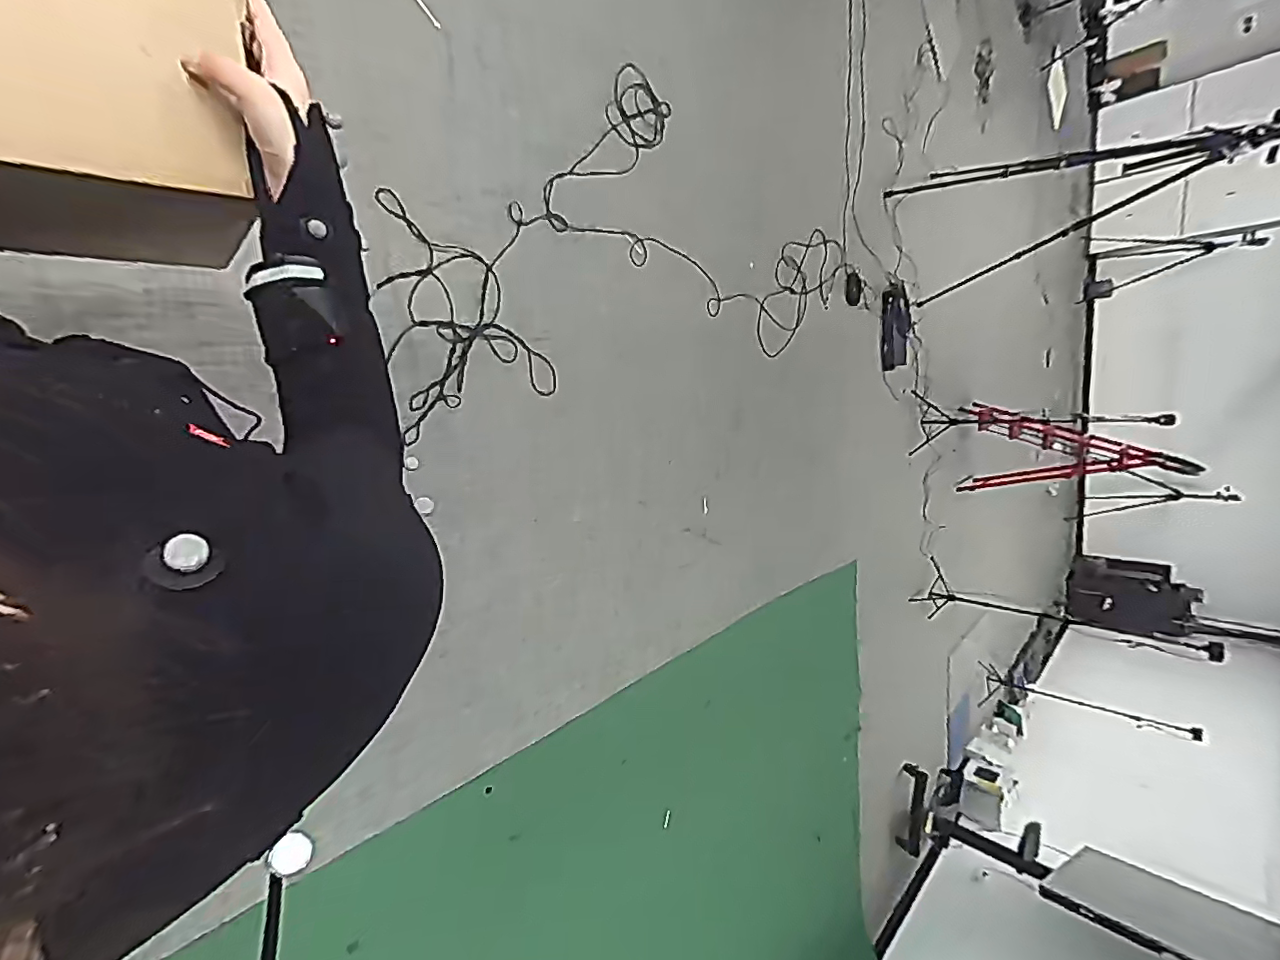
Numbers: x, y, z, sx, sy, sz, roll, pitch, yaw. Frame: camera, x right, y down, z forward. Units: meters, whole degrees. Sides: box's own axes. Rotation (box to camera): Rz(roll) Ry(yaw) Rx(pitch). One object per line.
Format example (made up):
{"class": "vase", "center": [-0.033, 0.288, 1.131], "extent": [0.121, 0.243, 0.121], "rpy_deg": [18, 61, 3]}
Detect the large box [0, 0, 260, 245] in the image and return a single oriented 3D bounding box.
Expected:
{"class": "large box", "center": [-0.549, -0.367, 0.377], "extent": [0.408, 0.320, 0.320], "rpy_deg": [-12, 105, -40]}
